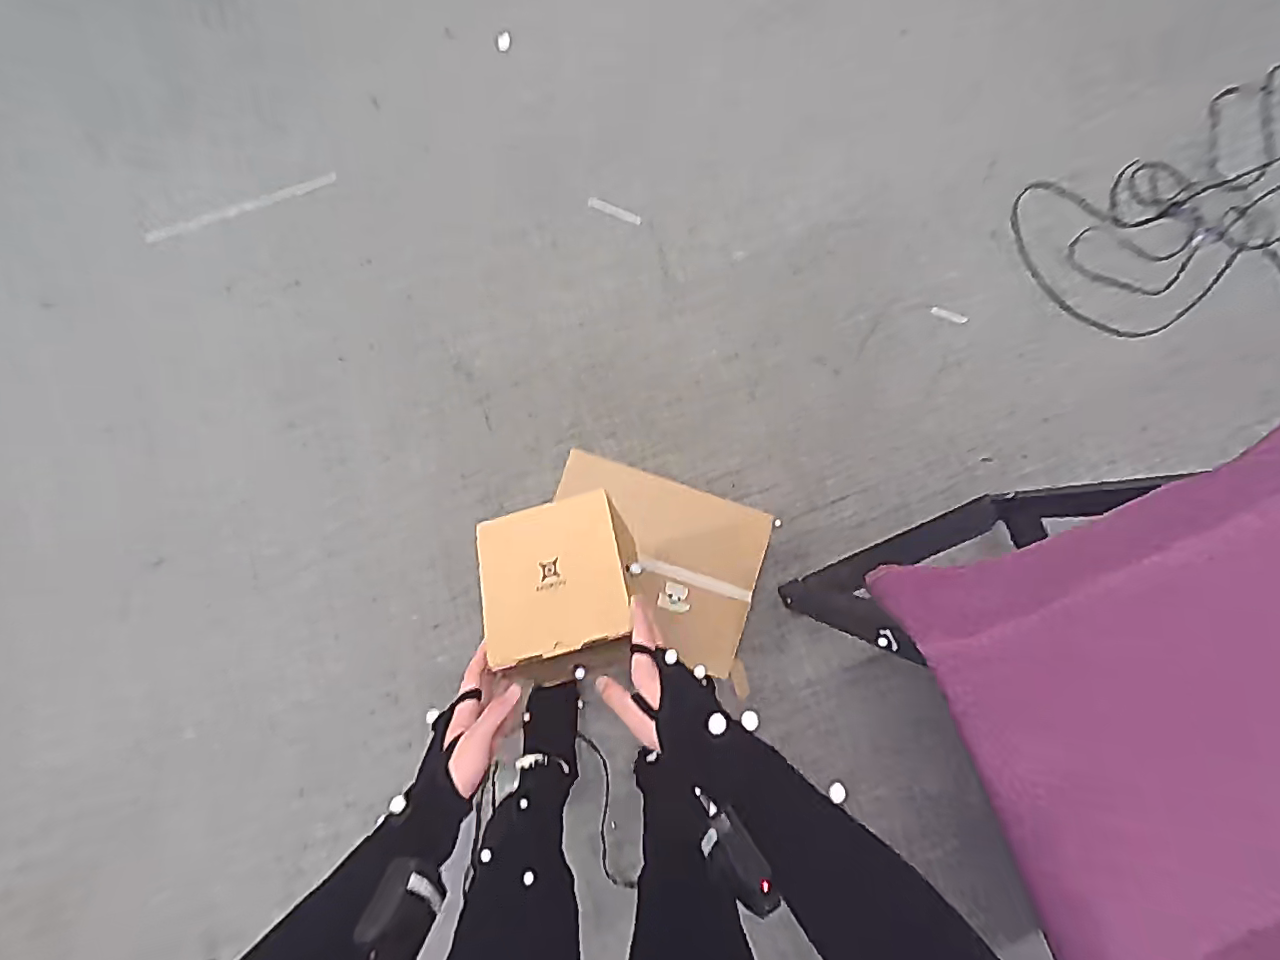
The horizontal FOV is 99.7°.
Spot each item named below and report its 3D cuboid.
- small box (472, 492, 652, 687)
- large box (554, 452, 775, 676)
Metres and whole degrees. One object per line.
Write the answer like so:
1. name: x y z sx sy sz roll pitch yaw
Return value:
1. small box: -0.090 0.142 0.666 0.168 0.176 0.179 -16 63 3
2. large box: 0.008 0.165 1.125 0.408 0.320 0.320 19 84 -1
